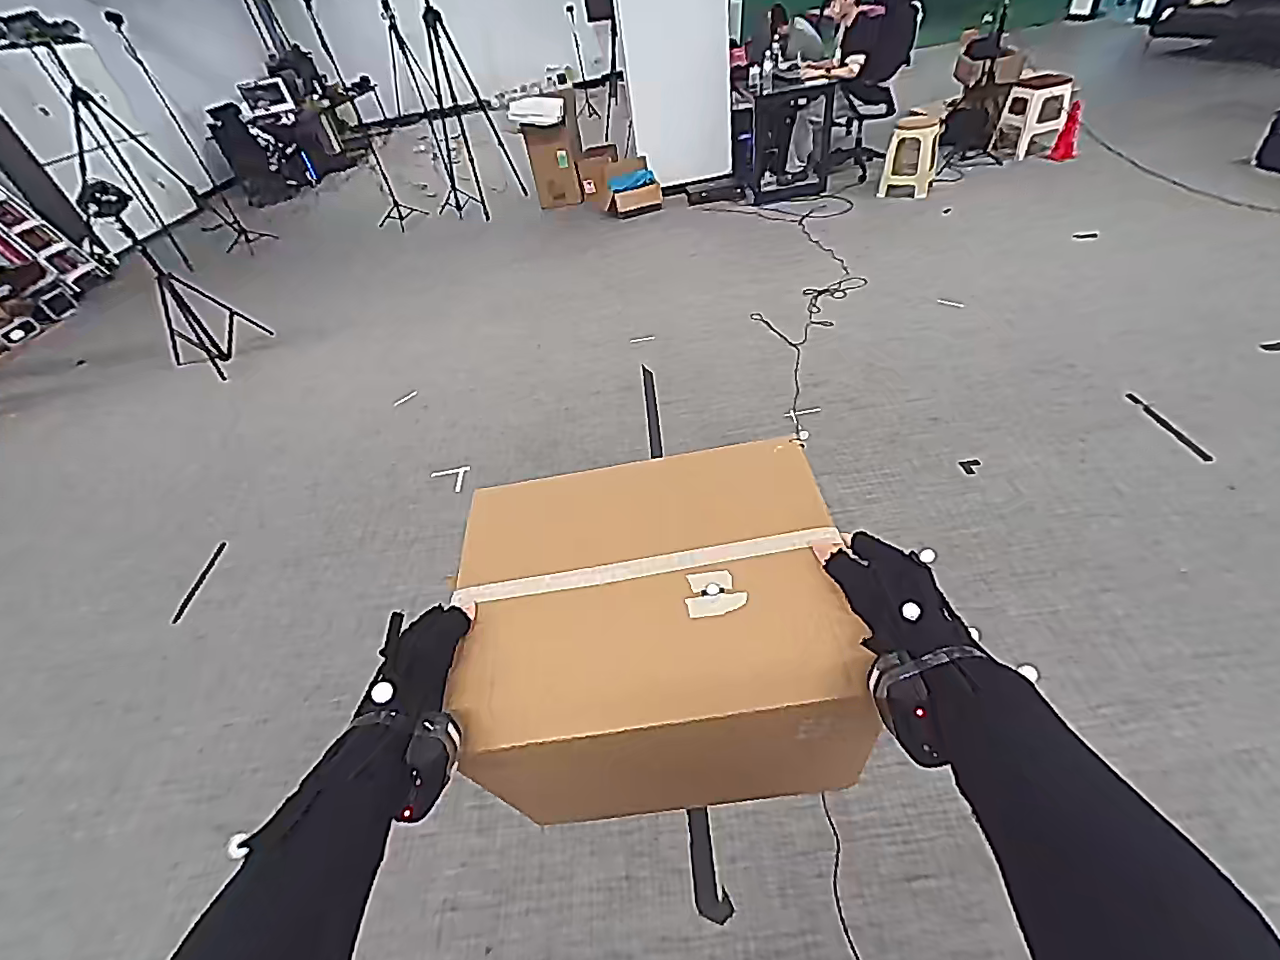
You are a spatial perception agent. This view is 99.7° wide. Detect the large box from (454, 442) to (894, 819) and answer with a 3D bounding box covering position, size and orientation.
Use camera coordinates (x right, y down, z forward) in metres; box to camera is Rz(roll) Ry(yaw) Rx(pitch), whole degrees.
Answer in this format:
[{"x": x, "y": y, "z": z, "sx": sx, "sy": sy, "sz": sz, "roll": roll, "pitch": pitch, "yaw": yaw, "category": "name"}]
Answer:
[{"x": 0.033, "y": 0.195, "z": 0.682, "sx": 0.408, "sy": 0.320, "sz": 0.320, "roll": -9, "pitch": 47, "yaw": 3, "category": "large box"}]
